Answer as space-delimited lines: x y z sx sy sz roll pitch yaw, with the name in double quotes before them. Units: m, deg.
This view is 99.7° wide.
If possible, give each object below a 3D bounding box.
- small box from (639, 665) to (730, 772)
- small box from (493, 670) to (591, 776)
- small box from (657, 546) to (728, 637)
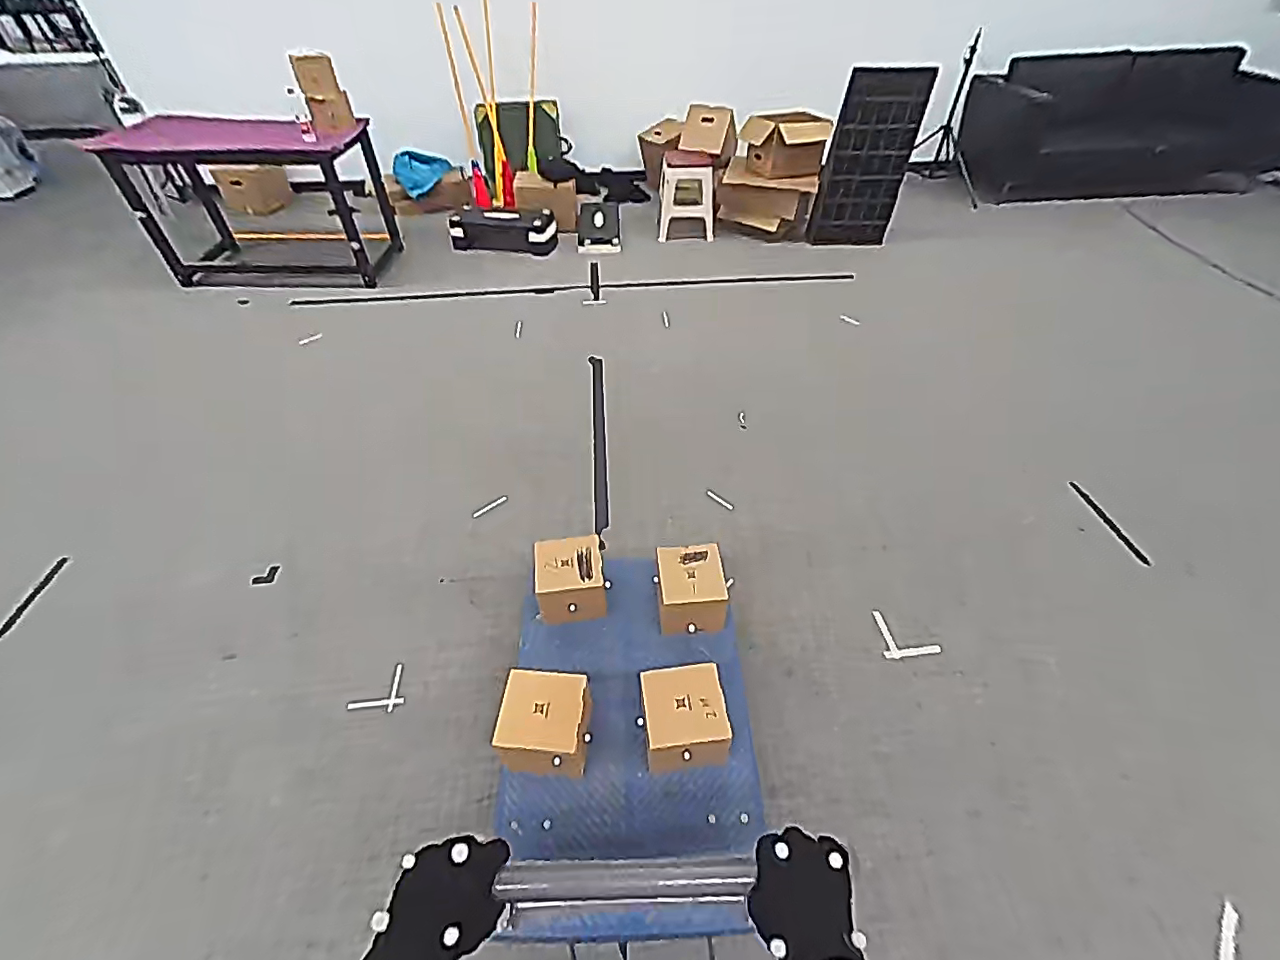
"small box" 0.095 0.542 1.223 0.179 0.176 0.168 -5 46 -4
"small box" -0.212 0.549 1.219 0.179 0.176 0.168 4 45 2
"small box" 0.134 0.301 1.458 0.168 0.176 0.179 -3 47 -2
